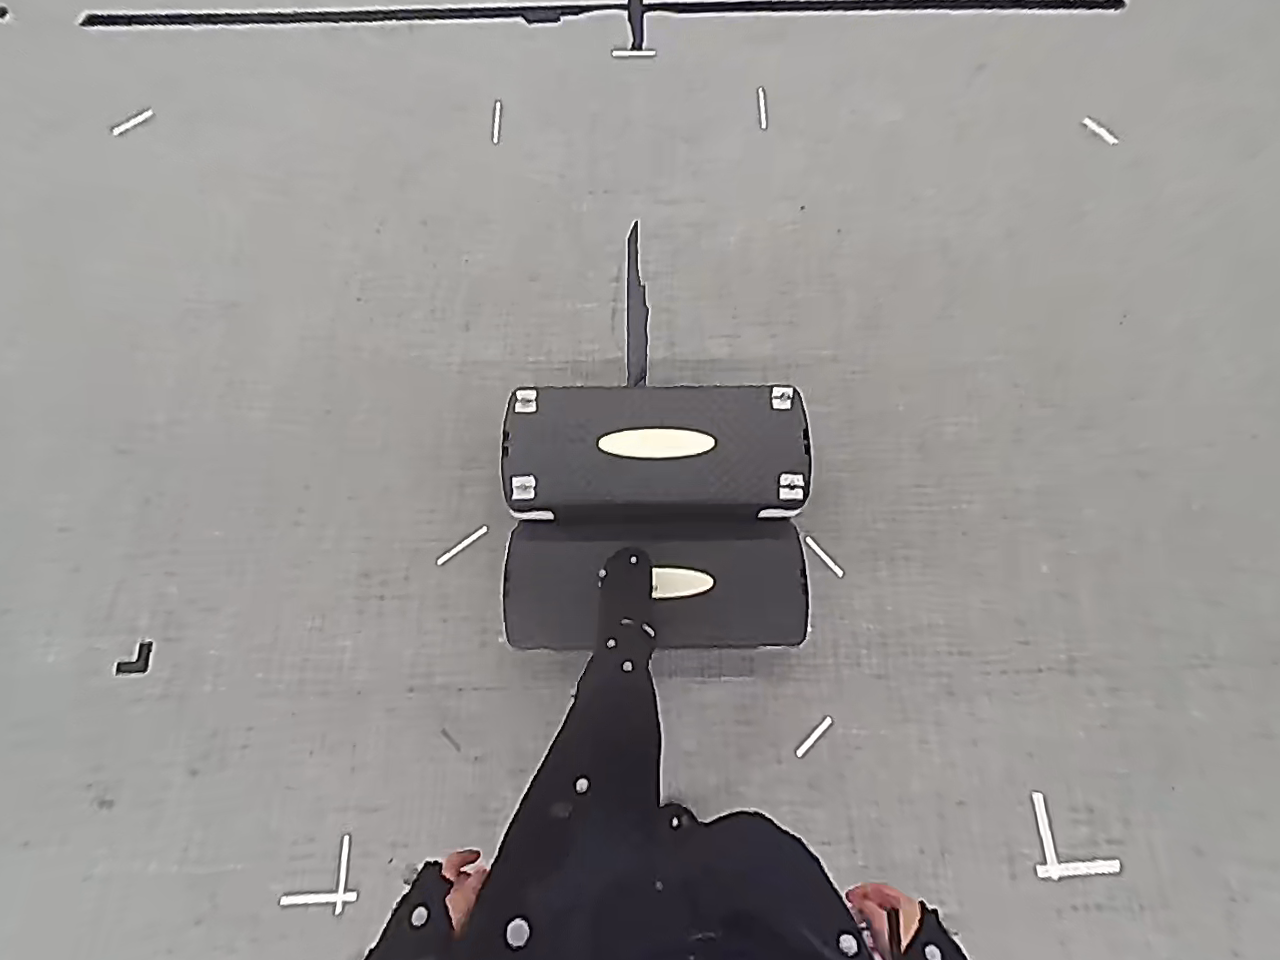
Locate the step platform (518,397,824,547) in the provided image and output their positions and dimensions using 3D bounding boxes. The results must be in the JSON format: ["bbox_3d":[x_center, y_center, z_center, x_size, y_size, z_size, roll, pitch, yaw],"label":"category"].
[{"bbox_3d":[0.067,-0.017,1.250,0.684,0.204,0.286,3,73,0],"label":"step platform"}]
